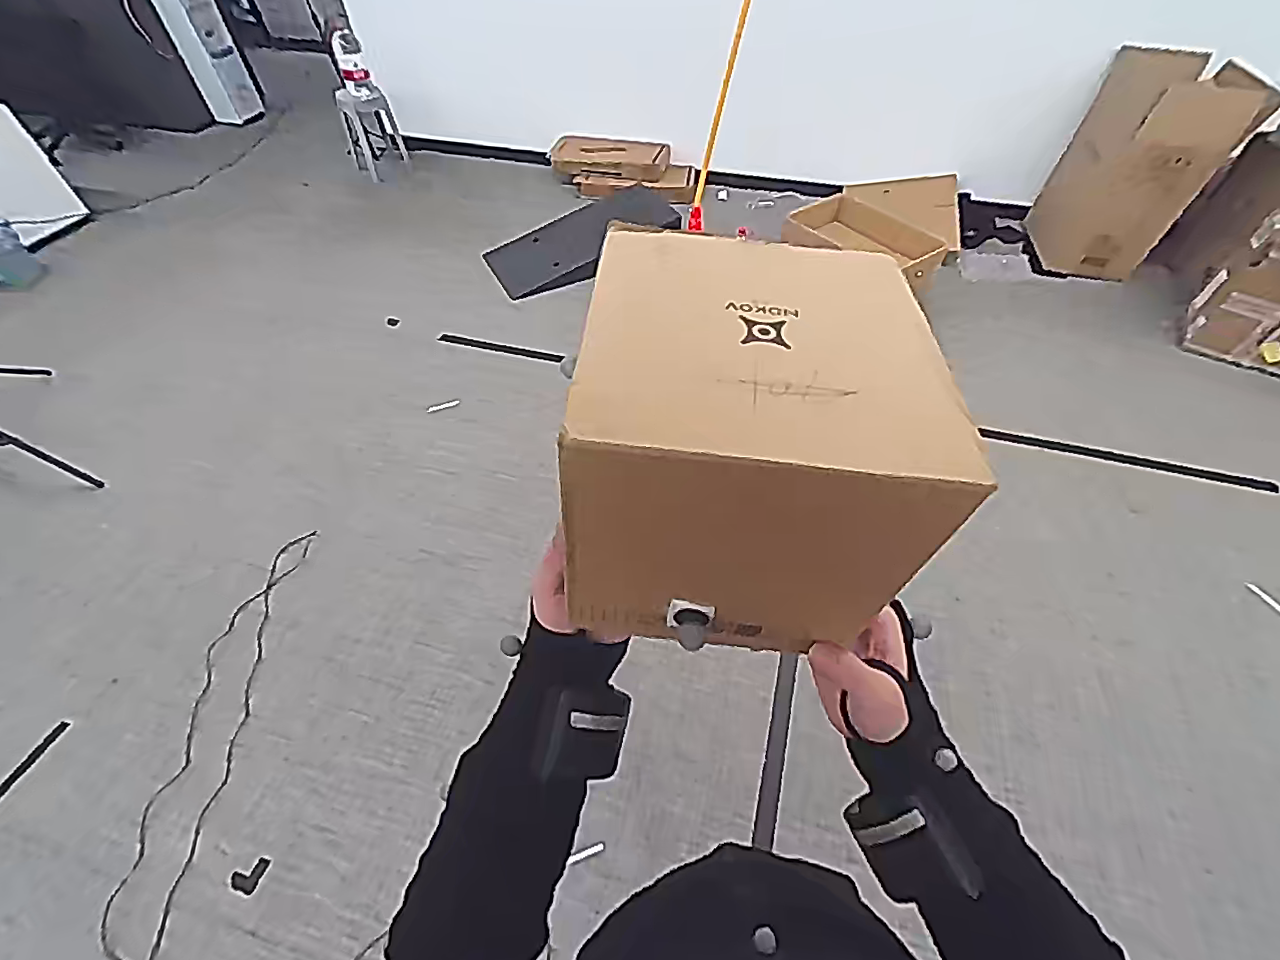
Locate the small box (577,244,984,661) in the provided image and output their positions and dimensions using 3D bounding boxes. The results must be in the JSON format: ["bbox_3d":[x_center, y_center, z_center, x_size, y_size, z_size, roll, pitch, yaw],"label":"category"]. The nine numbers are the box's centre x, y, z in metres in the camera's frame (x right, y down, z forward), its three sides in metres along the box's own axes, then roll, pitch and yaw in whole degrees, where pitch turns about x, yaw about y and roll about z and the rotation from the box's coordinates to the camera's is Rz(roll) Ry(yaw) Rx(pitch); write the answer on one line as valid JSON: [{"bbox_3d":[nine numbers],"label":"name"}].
[{"bbox_3d":[0.053,-0.013,0.326,0.168,0.176,0.179,5,50,-2],"label":"small box"}]
